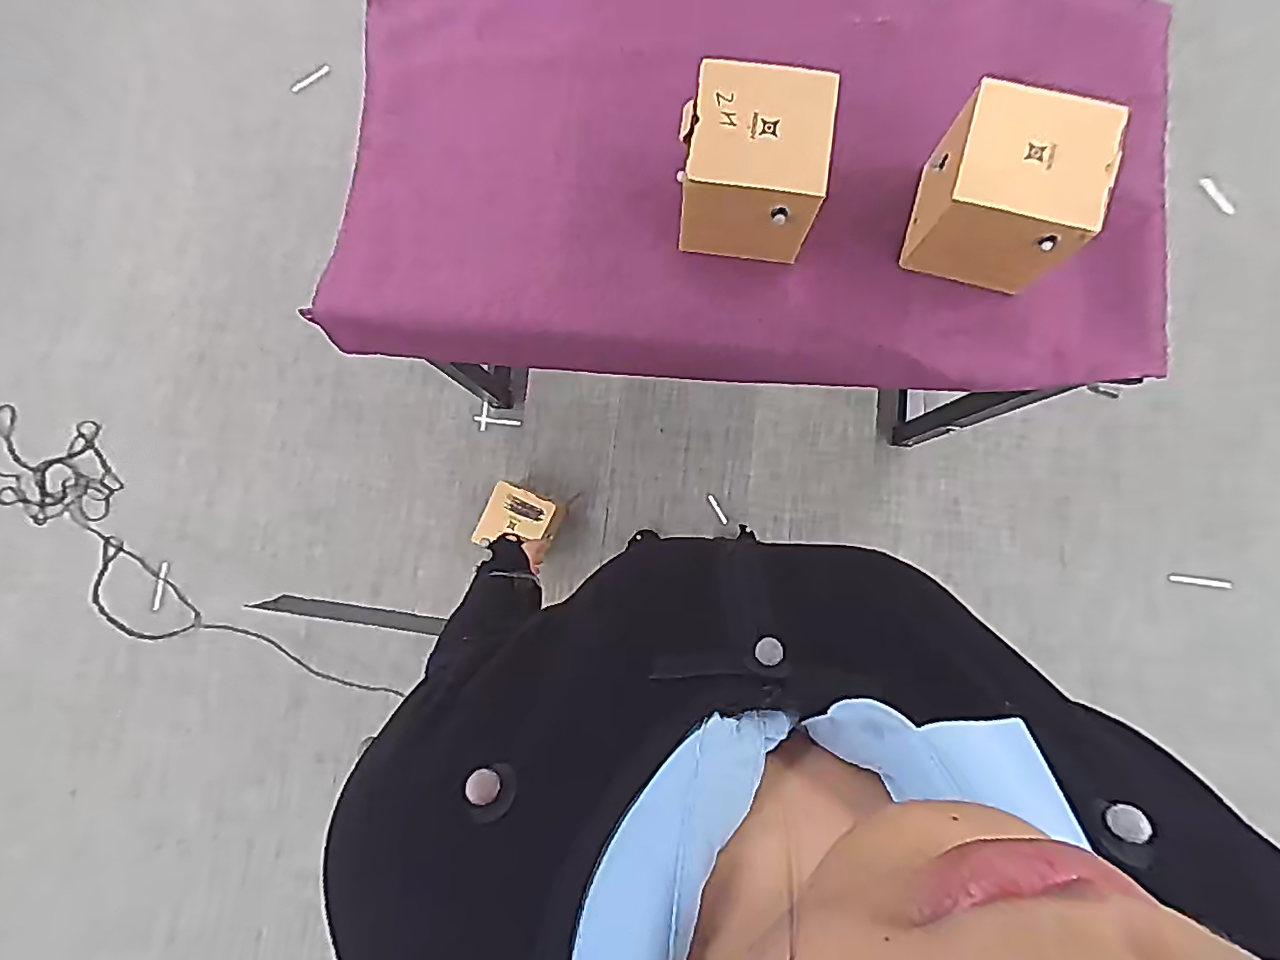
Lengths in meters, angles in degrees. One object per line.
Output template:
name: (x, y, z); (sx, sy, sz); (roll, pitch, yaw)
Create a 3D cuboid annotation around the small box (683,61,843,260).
small box: (0.158, -0.426, 0.747); (0.179, 0.176, 0.168); (8, 84, 4)

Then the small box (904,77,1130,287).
small box: (0.485, -0.384, 0.725); (0.179, 0.176, 0.168); (16, 85, 5)
